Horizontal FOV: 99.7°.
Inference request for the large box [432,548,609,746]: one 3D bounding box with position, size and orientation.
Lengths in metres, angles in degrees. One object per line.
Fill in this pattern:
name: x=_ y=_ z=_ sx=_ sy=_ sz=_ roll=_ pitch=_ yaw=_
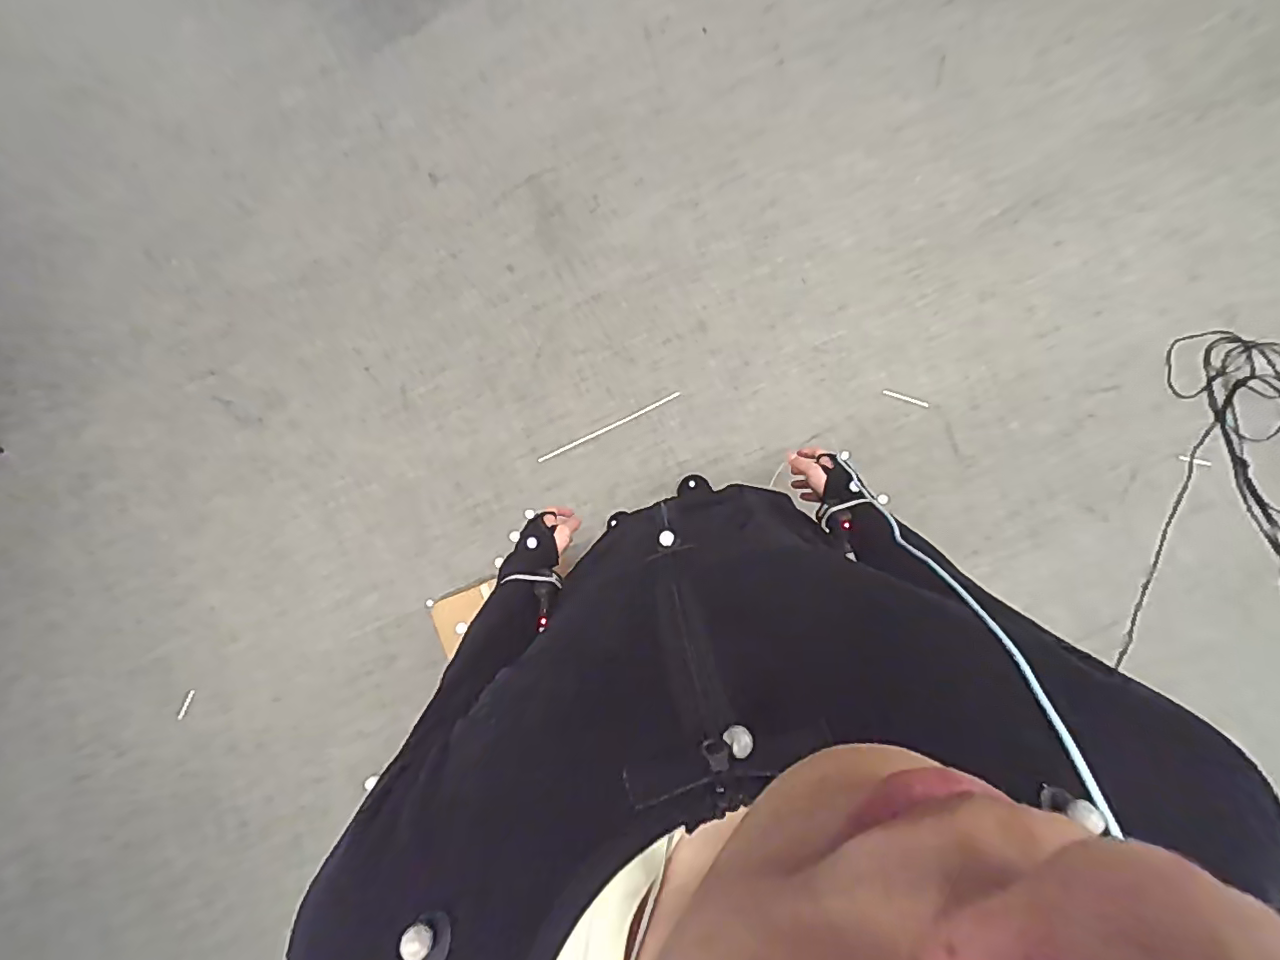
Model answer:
large box: x=-0.311 y=0.442 z=1.519 sx=0.320 sy=0.320 sz=0.408 roll=-22 pitch=88 yaw=0
